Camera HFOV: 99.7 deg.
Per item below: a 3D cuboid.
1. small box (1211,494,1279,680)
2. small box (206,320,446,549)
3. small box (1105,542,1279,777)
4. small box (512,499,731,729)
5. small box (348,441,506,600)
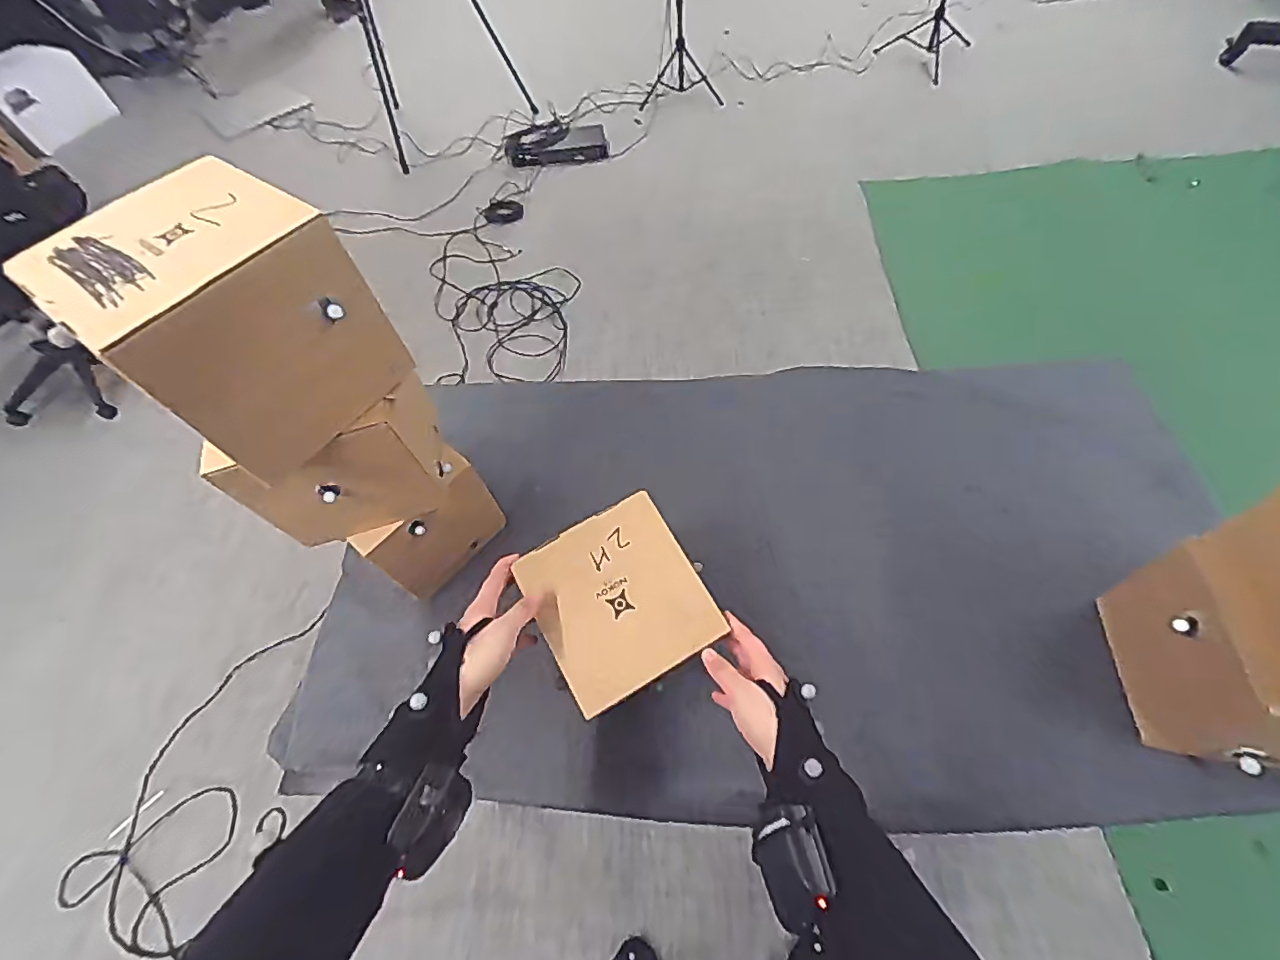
[{"bbox_3d":[0.623,0.089,0.415,0.168,0.176,0.179,2,53,10],"label":"small box"},{"bbox_3d":[-0.336,-0.045,0.615,0.179,0.176,0.168,-18,59,-4],"label":"small box"},{"bbox_3d":[0.627,0.185,0.548,0.168,0.176,0.179,4,56,11],"label":"small box"},{"bbox_3d":[-0.017,0.153,0.619,0.168,0.176,0.179,-30,72,-9],"label":"small box"},{"bbox_3d":[-0.320,0.039,0.757,0.179,0.176,0.168,35,68,24],"label":"small box"}]
